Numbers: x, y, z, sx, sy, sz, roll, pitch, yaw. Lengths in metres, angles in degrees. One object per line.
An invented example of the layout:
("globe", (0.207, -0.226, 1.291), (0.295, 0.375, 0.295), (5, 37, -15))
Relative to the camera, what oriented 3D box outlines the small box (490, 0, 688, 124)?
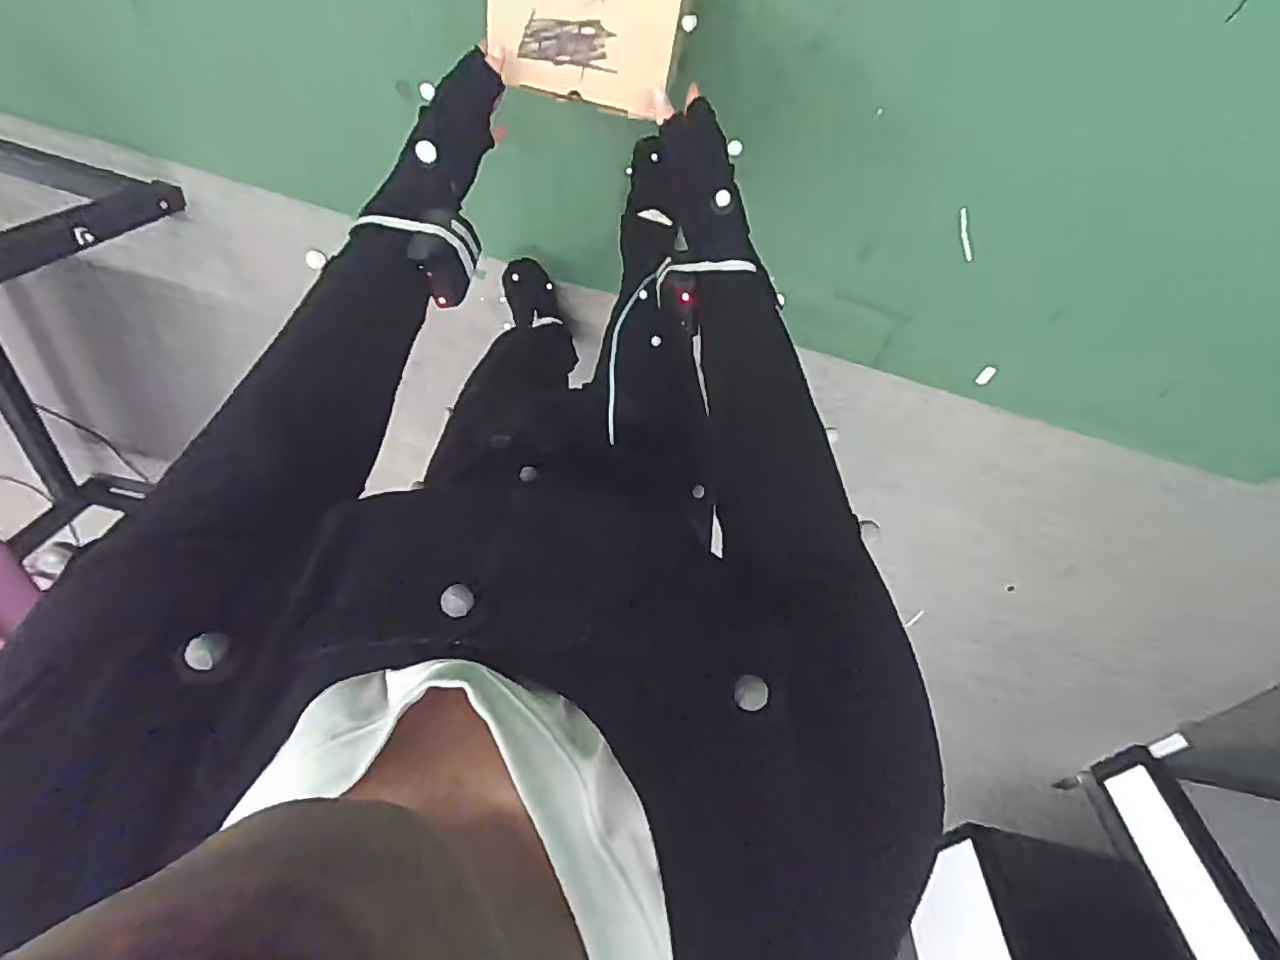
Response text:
("small box", (-0.037, -0.472, 0.517), (0.168, 0.176, 0.179), (11, 130, -4))
